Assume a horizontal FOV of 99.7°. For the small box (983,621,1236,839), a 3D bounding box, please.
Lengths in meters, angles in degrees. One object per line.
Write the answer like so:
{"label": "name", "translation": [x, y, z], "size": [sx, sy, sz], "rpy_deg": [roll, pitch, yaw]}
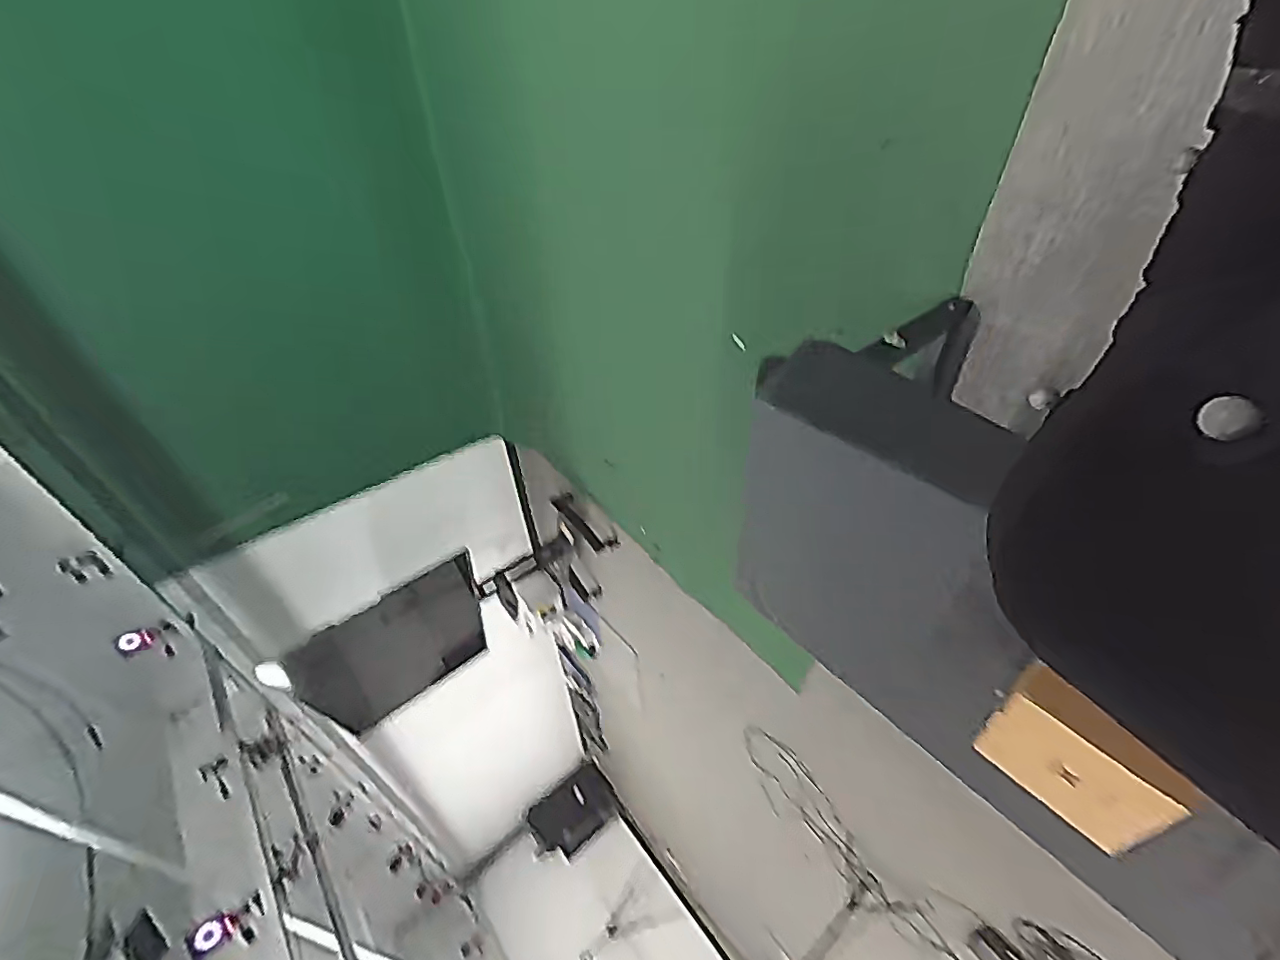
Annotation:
{"label": "small box", "translation": [0.605, 0.313, 0.711], "size": [0.179, 0.176, 0.168], "rpy_deg": [36, 147, 37]}
